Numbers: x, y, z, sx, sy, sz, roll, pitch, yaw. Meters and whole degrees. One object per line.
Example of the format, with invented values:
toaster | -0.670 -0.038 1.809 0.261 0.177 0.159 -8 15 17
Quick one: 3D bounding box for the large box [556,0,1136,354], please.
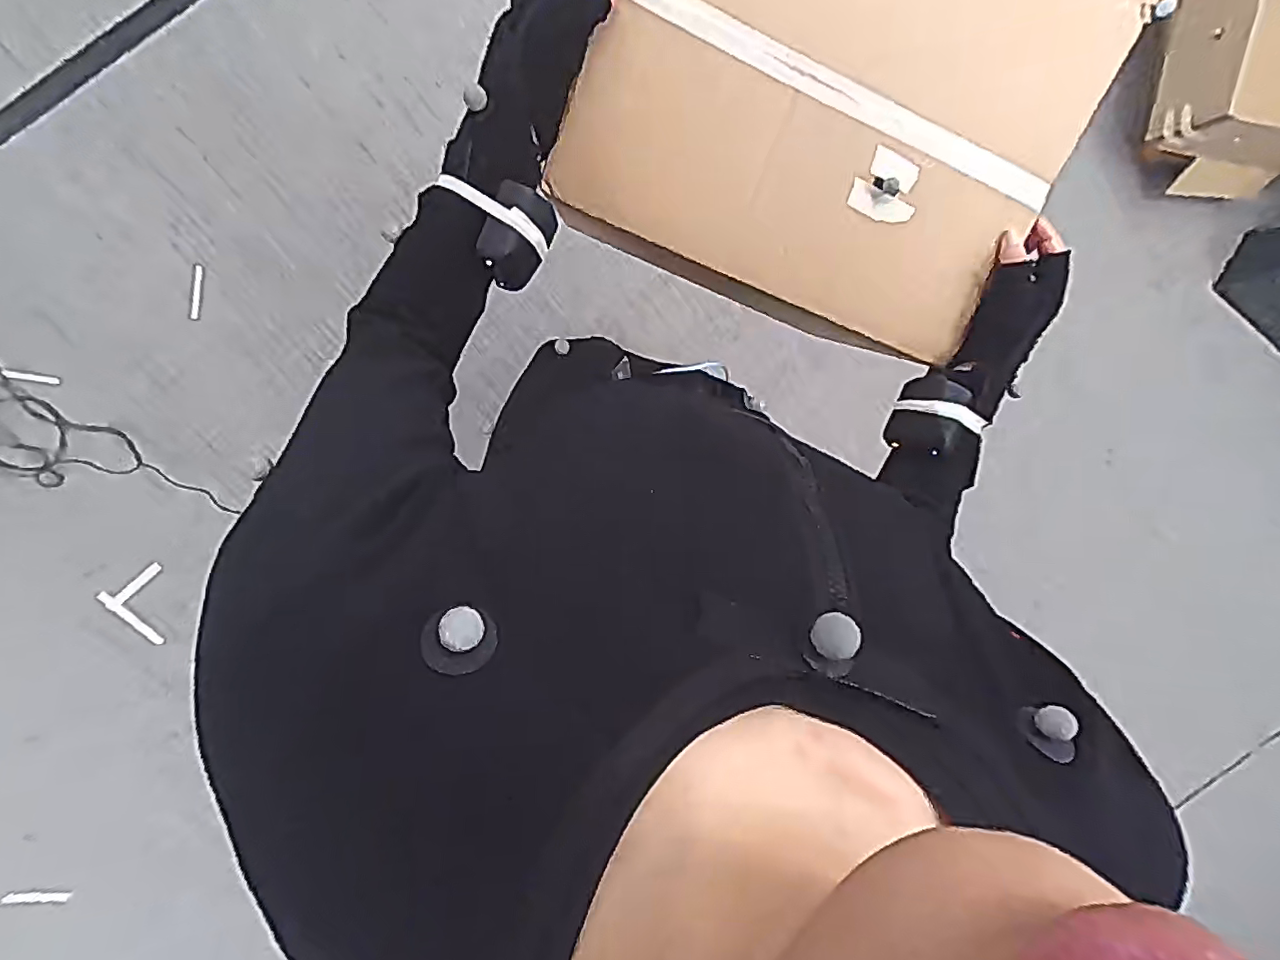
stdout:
large box | 0.153 -0.370 0.583 0.408 0.320 0.320 20 109 -12
